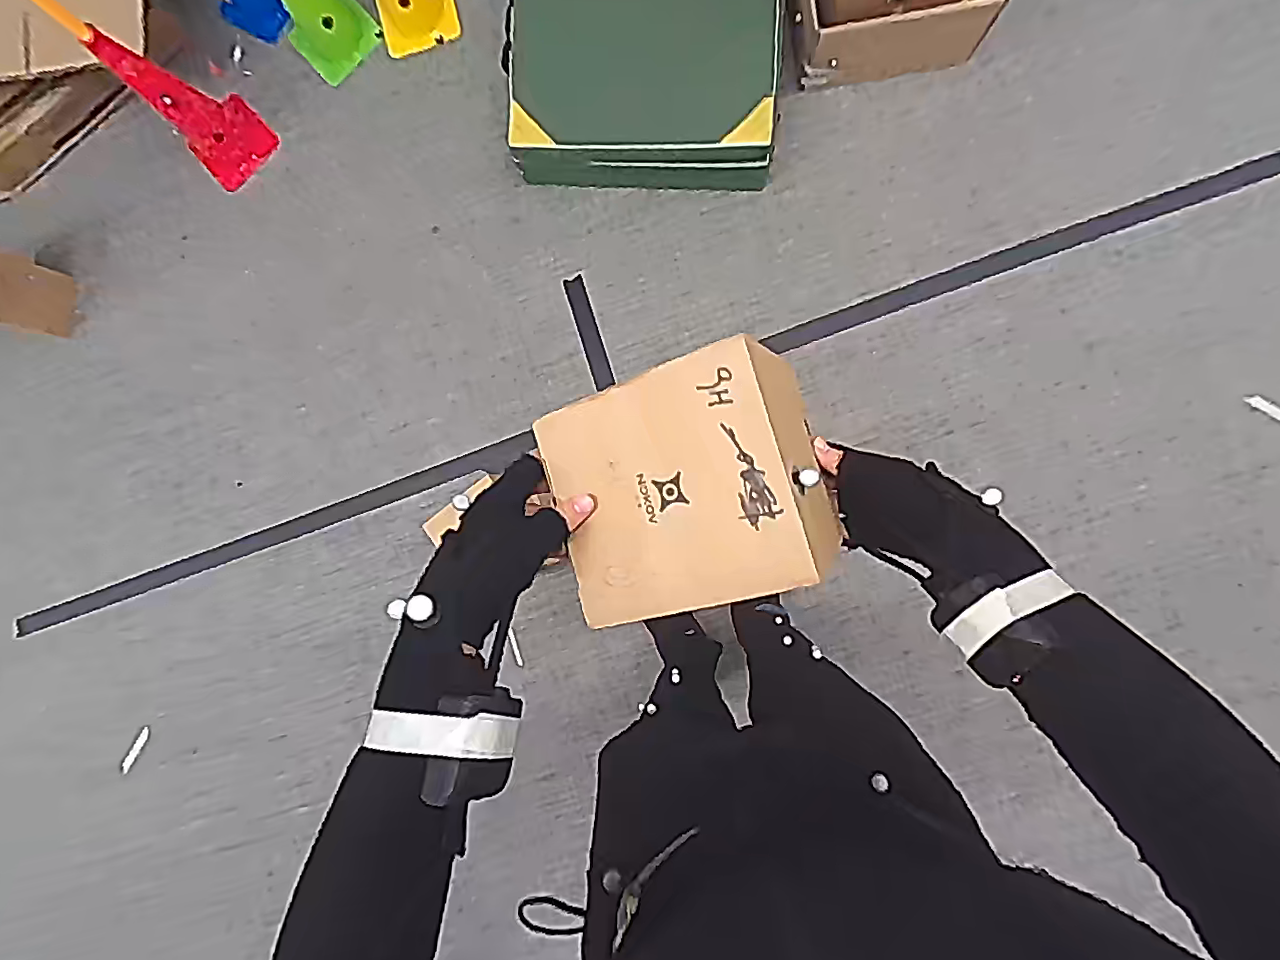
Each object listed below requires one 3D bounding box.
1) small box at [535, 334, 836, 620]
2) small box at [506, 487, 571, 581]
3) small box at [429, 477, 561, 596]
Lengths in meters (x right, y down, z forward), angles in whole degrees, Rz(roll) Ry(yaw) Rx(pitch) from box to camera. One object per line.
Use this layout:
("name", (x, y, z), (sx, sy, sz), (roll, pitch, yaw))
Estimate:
("small box", (0.047, 0.001, 0.453), (0.179, 0.176, 0.168), (-20, 86, 25))
("small box", (-0.261, 0.121, 1.272), (0.168, 0.176, 0.179), (-21, 86, 6))
("small box", (-0.287, 0.109, 1.109), (0.168, 0.176, 0.179), (-34, 88, 6))
